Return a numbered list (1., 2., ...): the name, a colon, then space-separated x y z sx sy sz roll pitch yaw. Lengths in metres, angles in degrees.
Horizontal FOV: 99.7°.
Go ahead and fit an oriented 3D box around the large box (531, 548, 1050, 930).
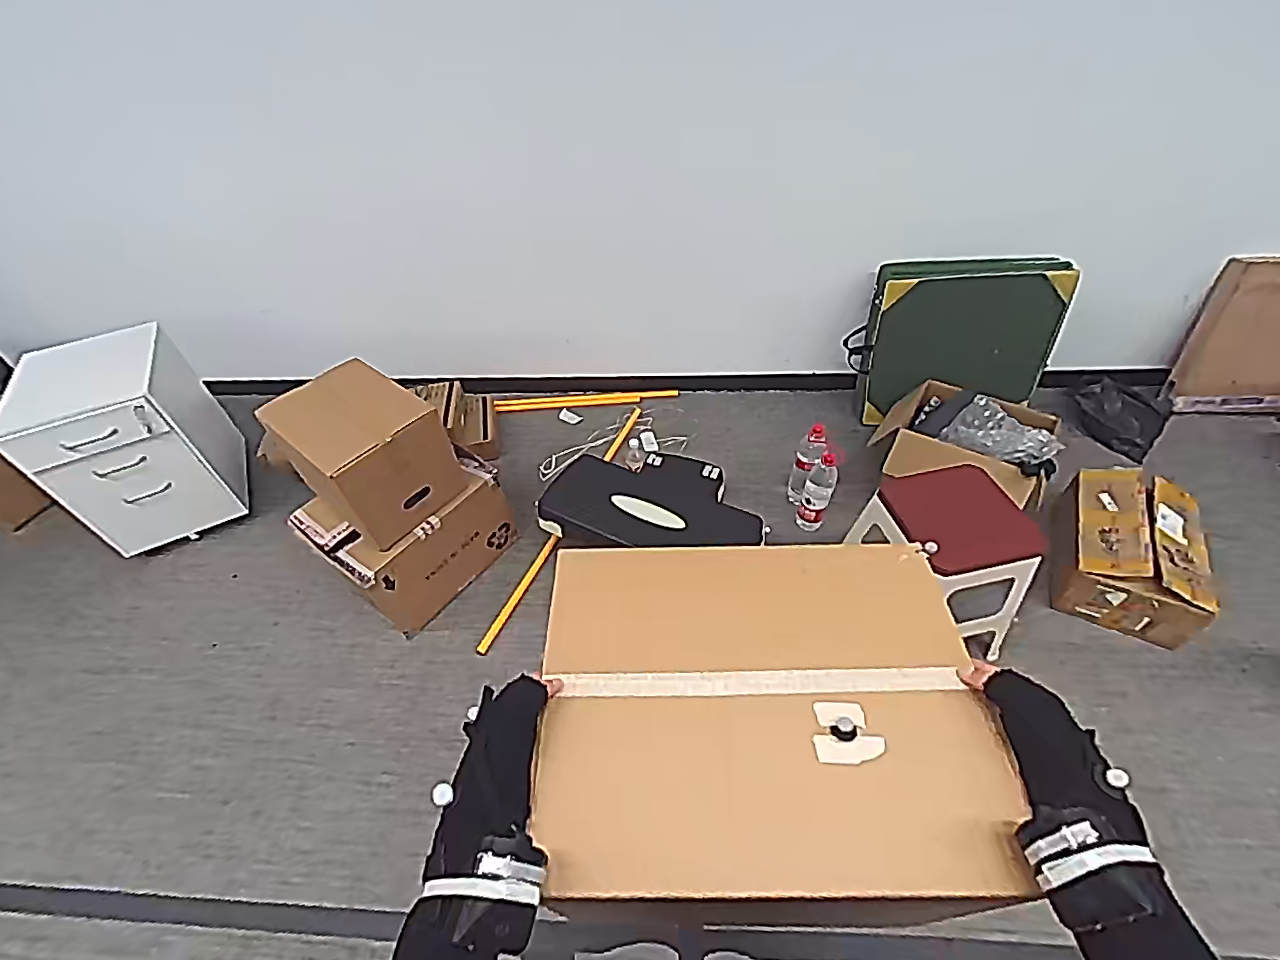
1. large box: 0.114 0.296 0.616 0.408 0.320 0.320 -1 47 1
